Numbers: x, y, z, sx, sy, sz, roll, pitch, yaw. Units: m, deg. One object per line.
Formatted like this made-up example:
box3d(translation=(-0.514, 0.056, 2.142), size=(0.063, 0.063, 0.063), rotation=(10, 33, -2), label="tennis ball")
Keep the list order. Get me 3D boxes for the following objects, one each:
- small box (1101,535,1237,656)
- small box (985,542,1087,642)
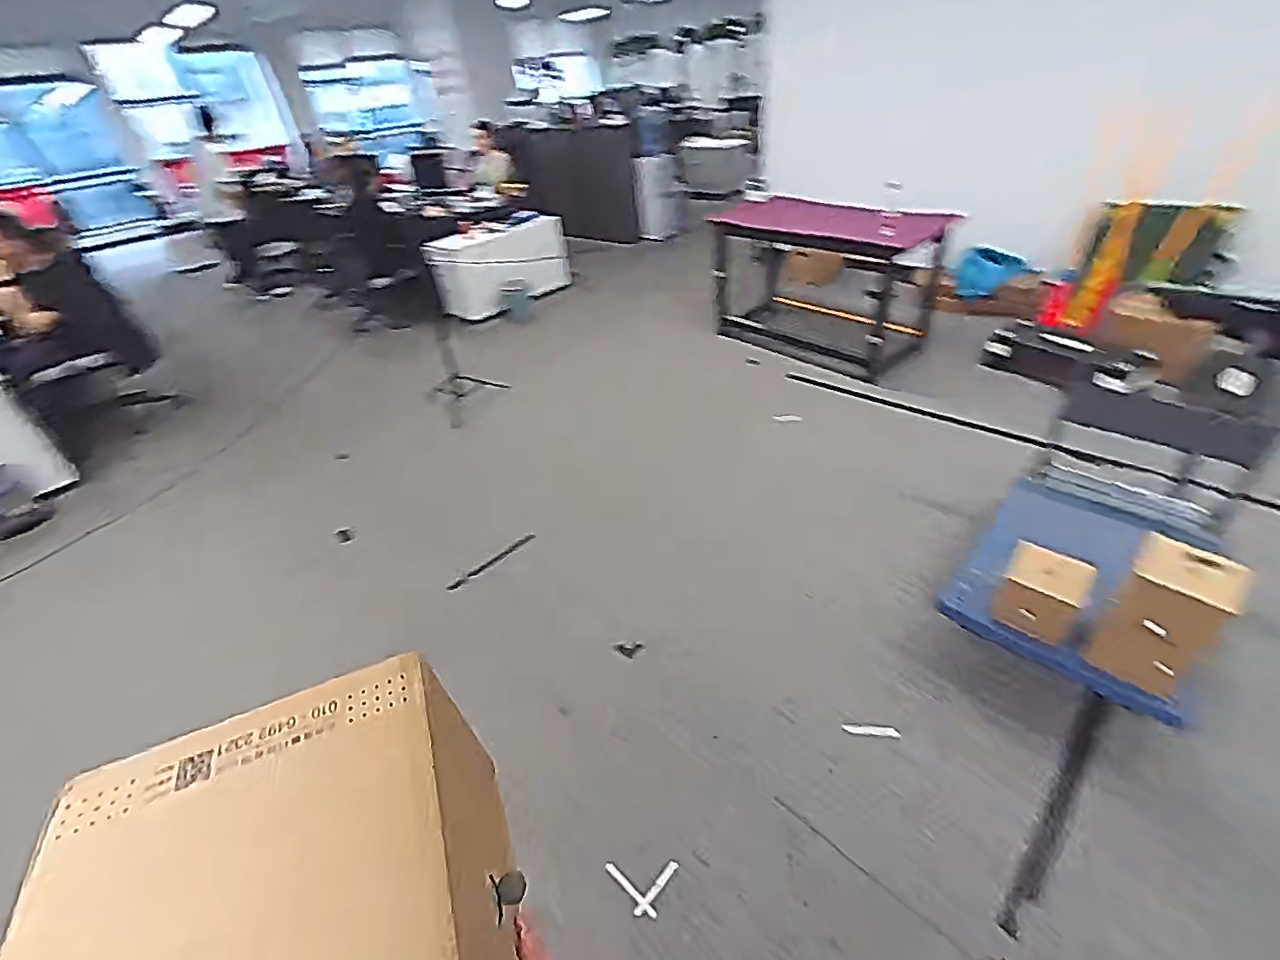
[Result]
box3d(translation=(1.222, 0.267, 1.258), size=(0.179, 0.176, 0.168), rotation=(-34, 45, -30), label="small box")
box3d(translation=(1.085, 0.311, 1.493), size=(0.168, 0.176, 0.179), rotation=(27, 48, 35), label="small box")
